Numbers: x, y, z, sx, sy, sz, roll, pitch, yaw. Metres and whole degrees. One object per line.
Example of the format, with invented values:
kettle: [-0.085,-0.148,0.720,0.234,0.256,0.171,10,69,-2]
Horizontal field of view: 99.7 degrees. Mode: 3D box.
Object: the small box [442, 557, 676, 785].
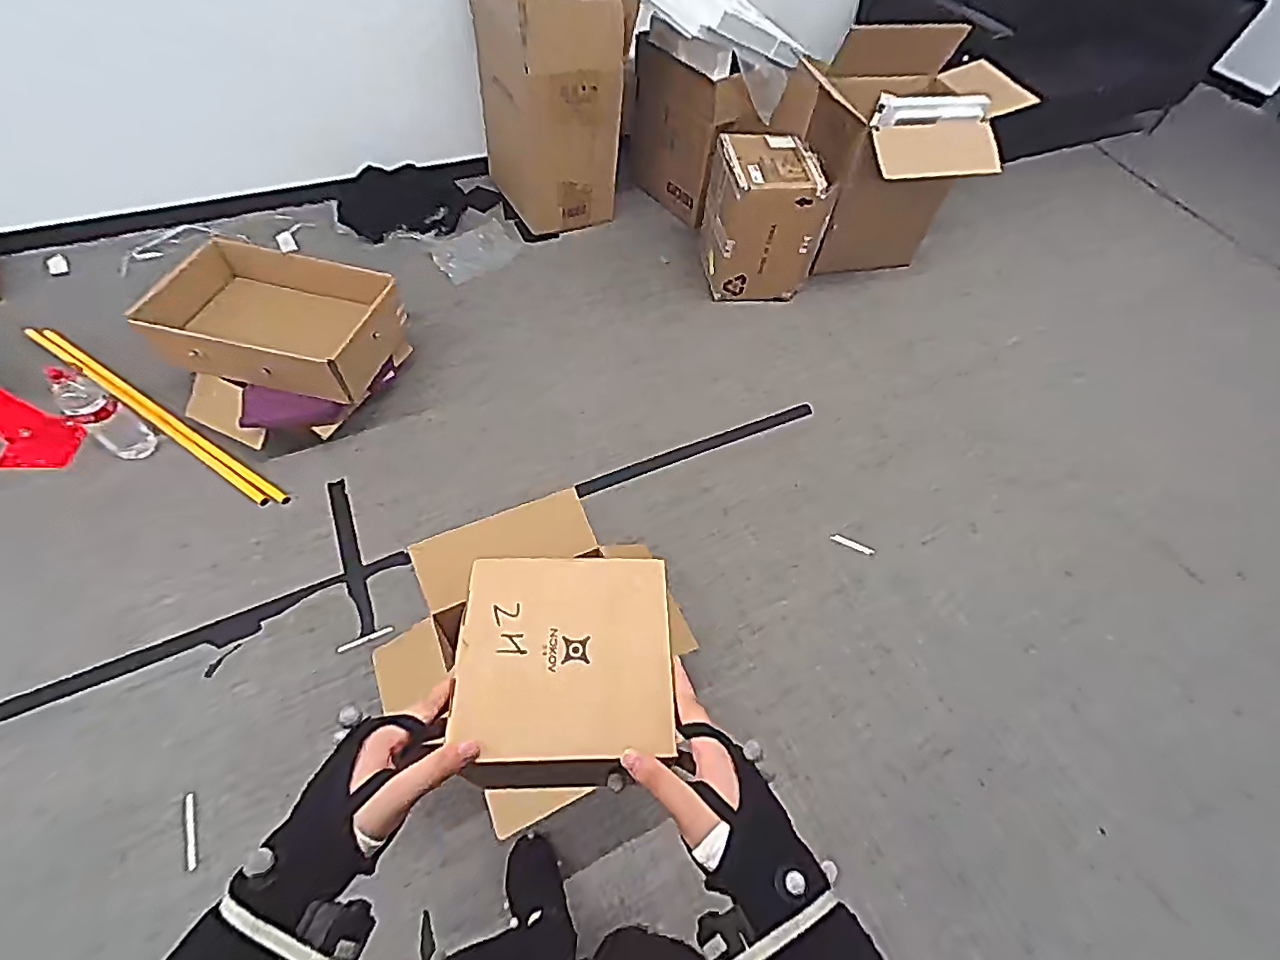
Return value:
small box: [-0.066,0.185,0.512,0.179,0.176,0.168,0,54,-3]
